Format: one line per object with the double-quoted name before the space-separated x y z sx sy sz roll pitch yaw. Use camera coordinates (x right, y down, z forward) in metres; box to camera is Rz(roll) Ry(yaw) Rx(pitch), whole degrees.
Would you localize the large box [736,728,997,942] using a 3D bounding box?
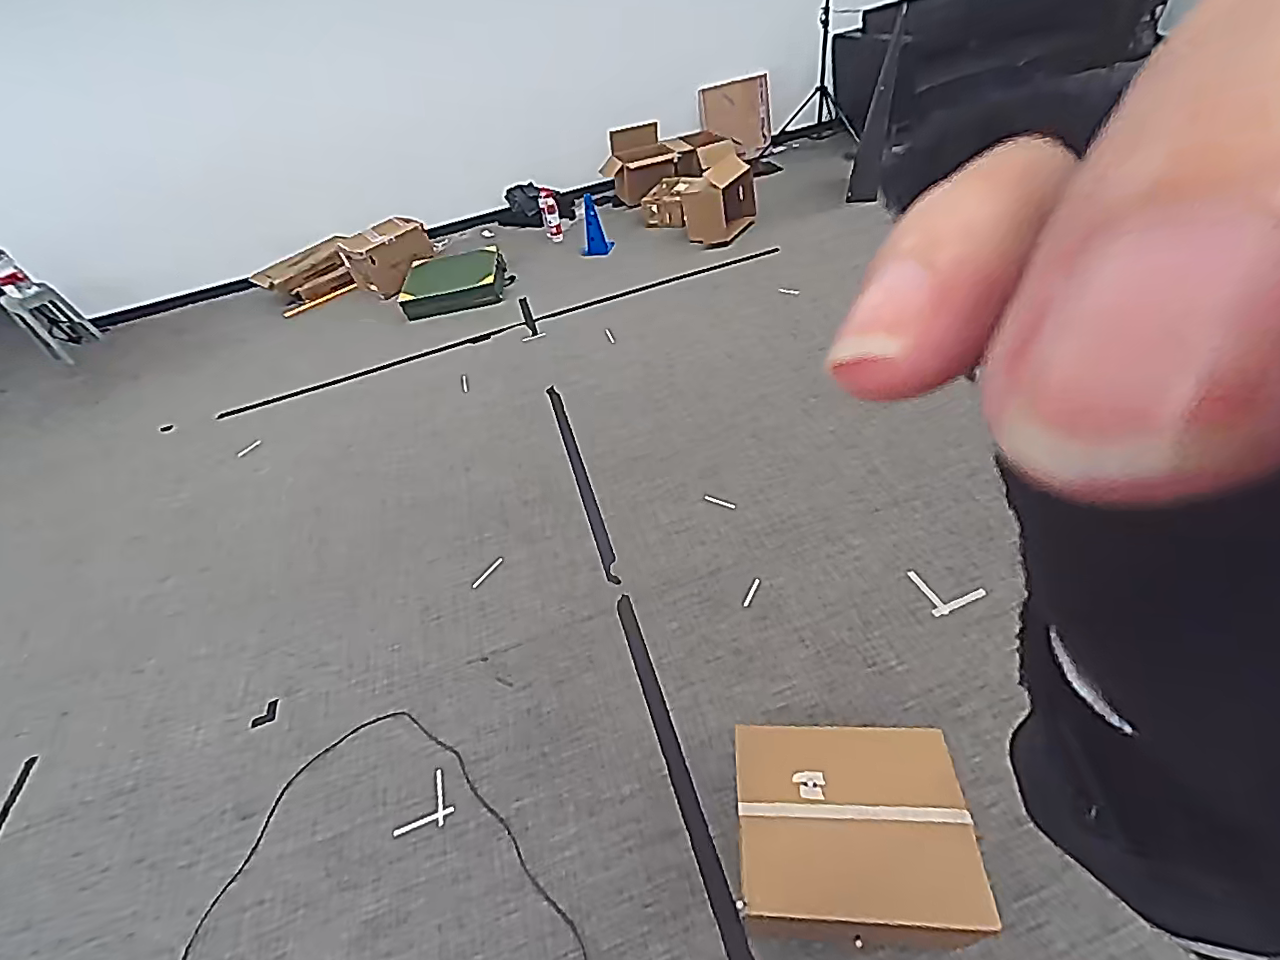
"large box" 0.415 0.724 1.103 0.408 0.320 0.320 -4 44 10
